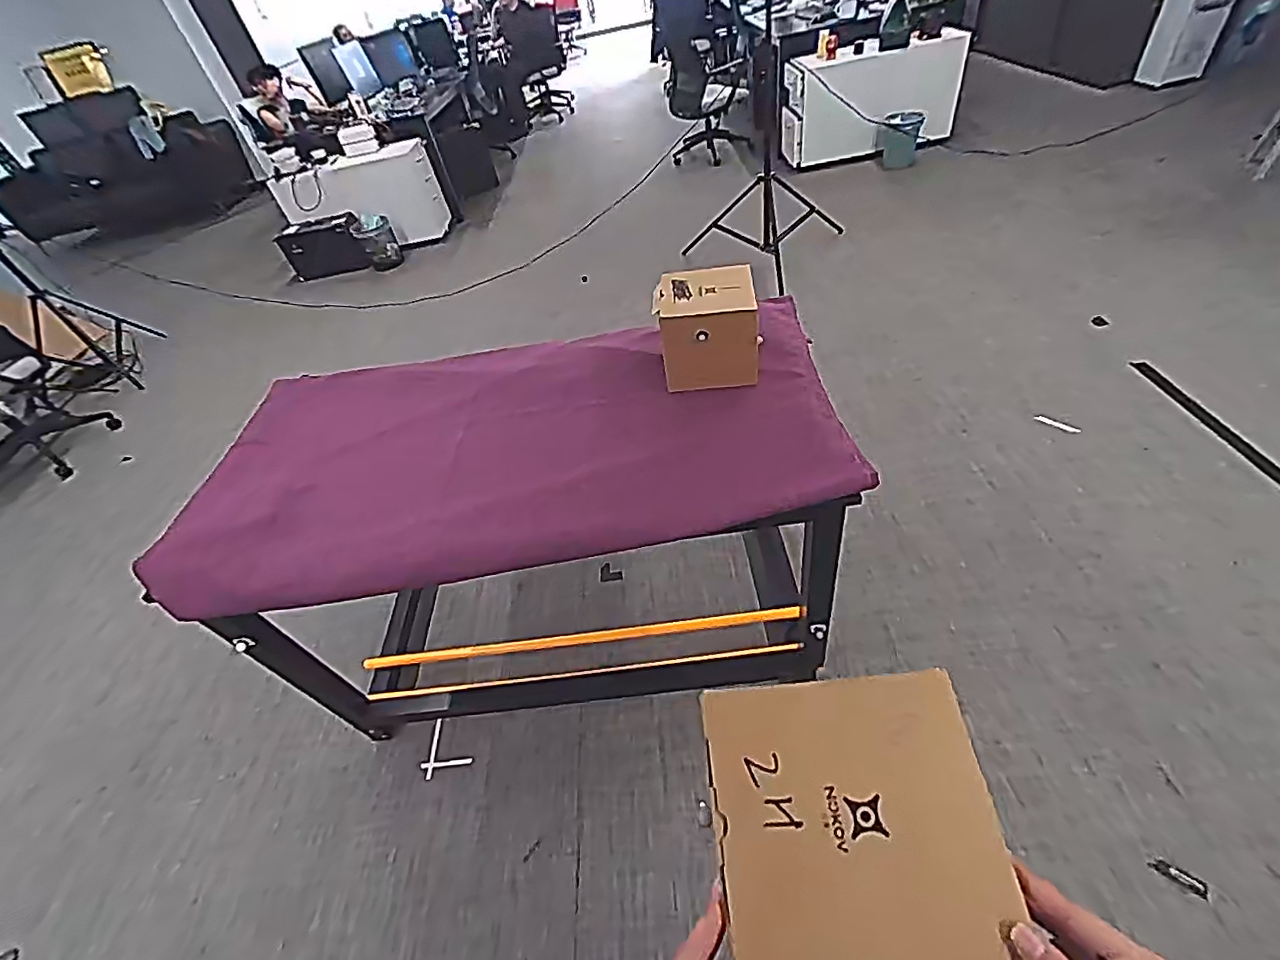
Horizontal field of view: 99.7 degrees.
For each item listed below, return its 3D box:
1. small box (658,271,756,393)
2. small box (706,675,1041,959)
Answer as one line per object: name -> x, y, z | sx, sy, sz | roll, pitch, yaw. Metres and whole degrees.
small box -> 0.135, -0.287, 1.064 | 0.179, 0.176, 0.168 | -3, 47, 8
small box -> 0.146, 0.254, 0.417 | 0.179, 0.176, 0.168 | -7, 60, 5
